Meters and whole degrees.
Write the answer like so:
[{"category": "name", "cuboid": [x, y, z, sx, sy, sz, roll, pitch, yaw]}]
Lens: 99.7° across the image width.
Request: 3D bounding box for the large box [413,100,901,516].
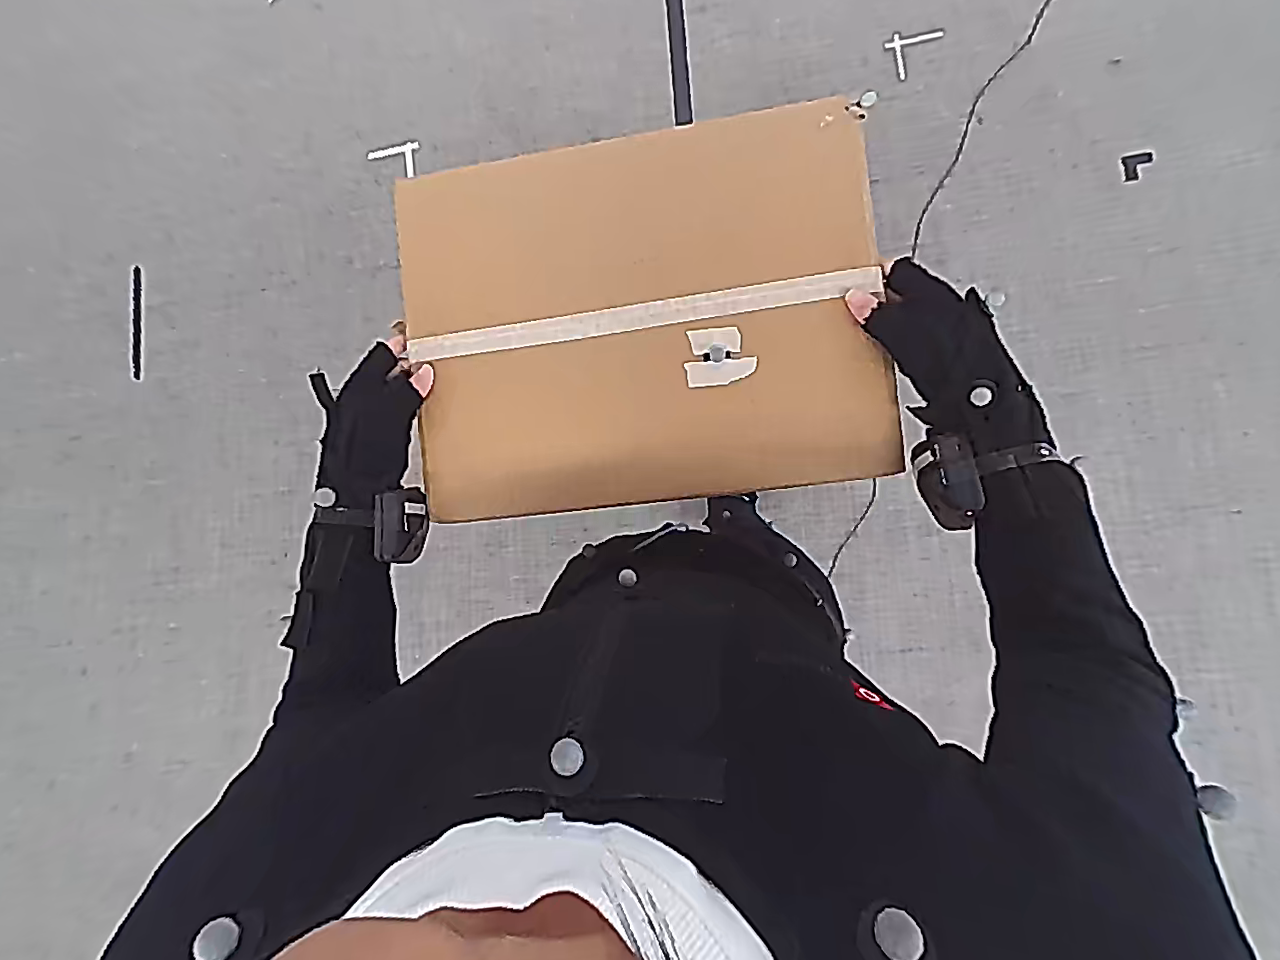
[{"category": "large box", "cuboid": [0.018, -0.141, 0.620, 0.408, 0.320, 0.320, -7, 89, 6]}]
